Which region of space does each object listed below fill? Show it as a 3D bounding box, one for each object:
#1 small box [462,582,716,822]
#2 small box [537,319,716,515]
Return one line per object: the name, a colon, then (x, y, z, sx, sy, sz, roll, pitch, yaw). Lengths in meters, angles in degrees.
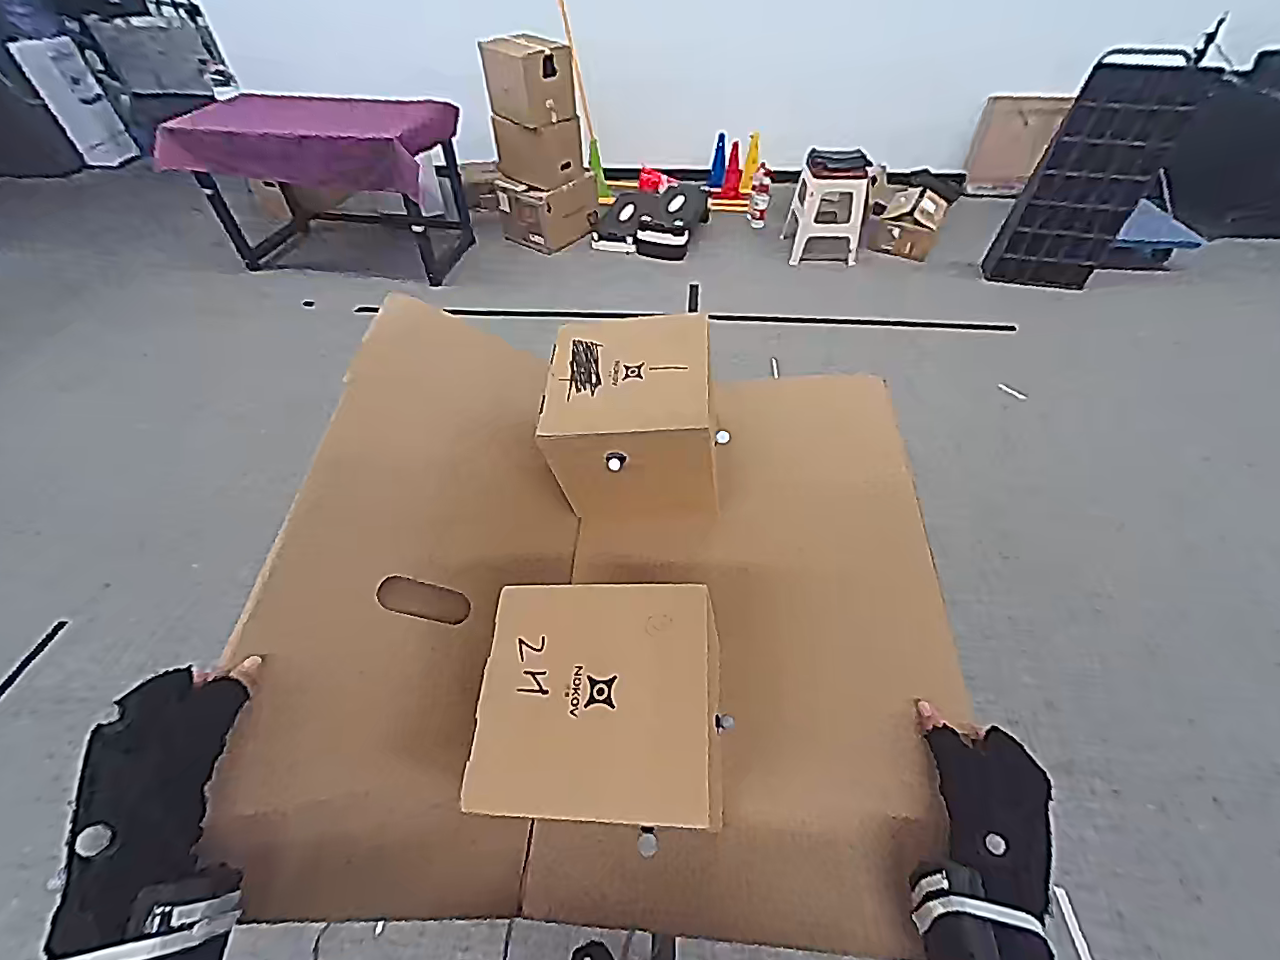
small box: (-0.024, 0.199, 0.479, 0.179, 0.176, 0.168, -2, 57, 11)
small box: (-0.002, -0.067, 0.649, 0.179, 0.176, 0.168, -2, 57, 10)
